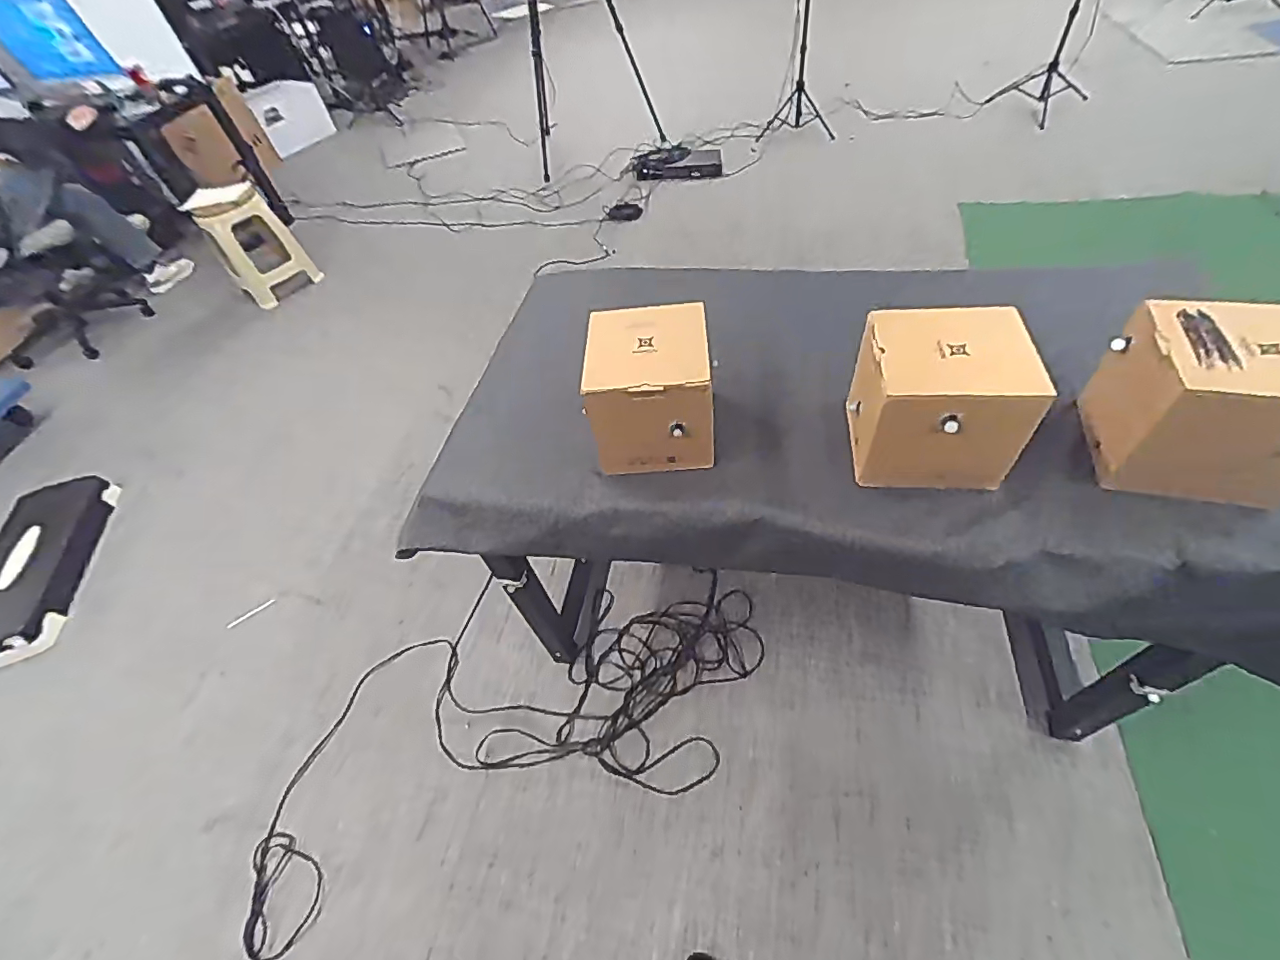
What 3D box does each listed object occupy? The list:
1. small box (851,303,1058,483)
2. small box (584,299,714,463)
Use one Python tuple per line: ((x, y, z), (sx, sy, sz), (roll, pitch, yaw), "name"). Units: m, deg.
((0.386, -0.109, 0.703), (0.179, 0.176, 0.168), (2, 52, 12), "small box")
((0.021, -0.135, 0.783), (0.168, 0.176, 0.179), (-3, 50, 5), "small box")
